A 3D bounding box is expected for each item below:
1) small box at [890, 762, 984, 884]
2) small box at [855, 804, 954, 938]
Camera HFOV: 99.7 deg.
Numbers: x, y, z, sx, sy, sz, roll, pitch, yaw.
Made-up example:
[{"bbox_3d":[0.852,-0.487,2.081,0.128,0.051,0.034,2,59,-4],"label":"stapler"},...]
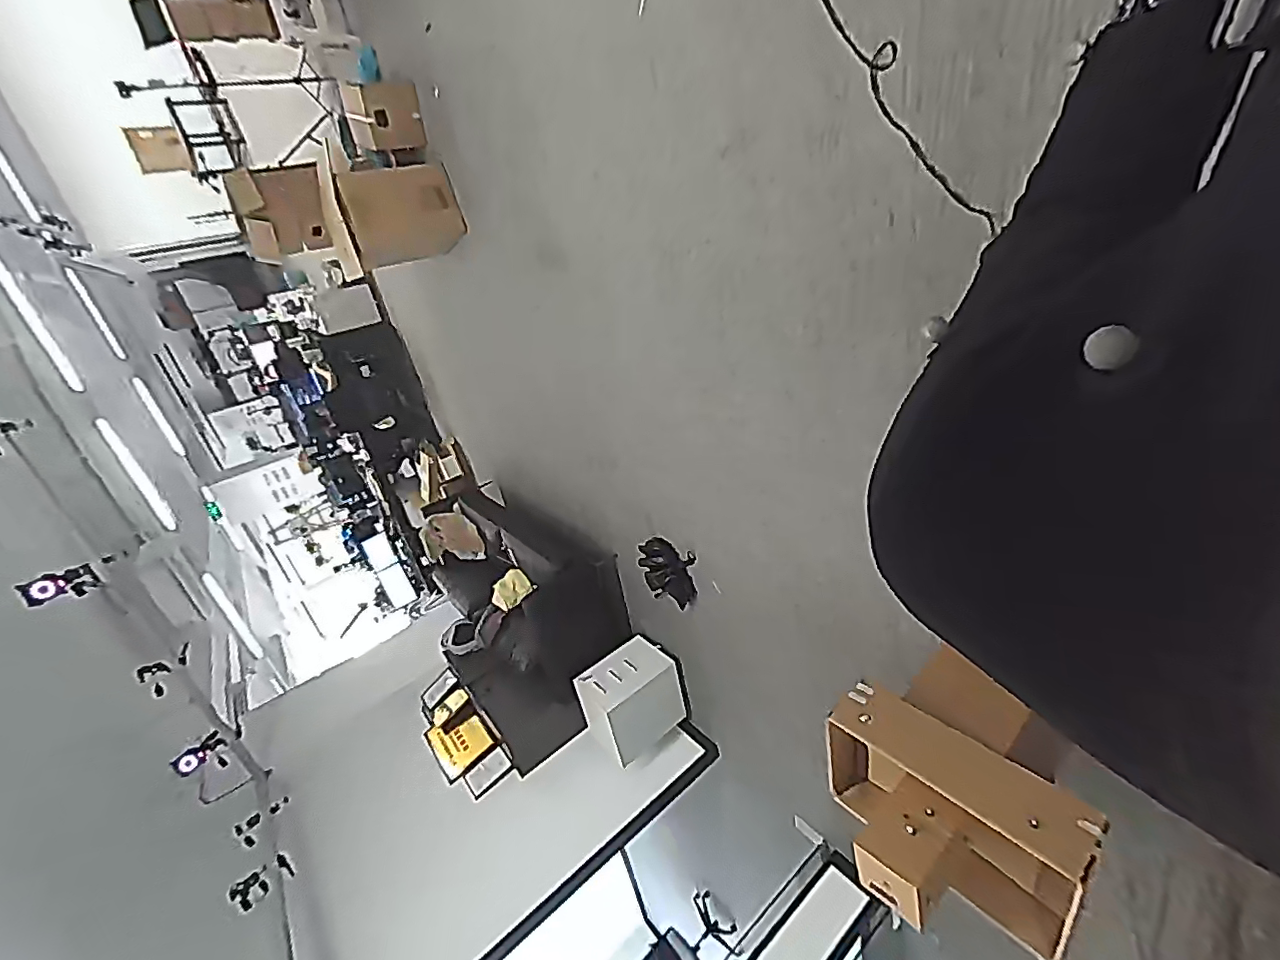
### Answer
[{"bbox_3d":[0.800,0.911,1.449,0.168,0.176,0.179,12,126,52],"label":"small box"},{"bbox_3d":[0.674,0.981,1.371,0.168,0.176,0.179,14,125,52],"label":"small box"}]
